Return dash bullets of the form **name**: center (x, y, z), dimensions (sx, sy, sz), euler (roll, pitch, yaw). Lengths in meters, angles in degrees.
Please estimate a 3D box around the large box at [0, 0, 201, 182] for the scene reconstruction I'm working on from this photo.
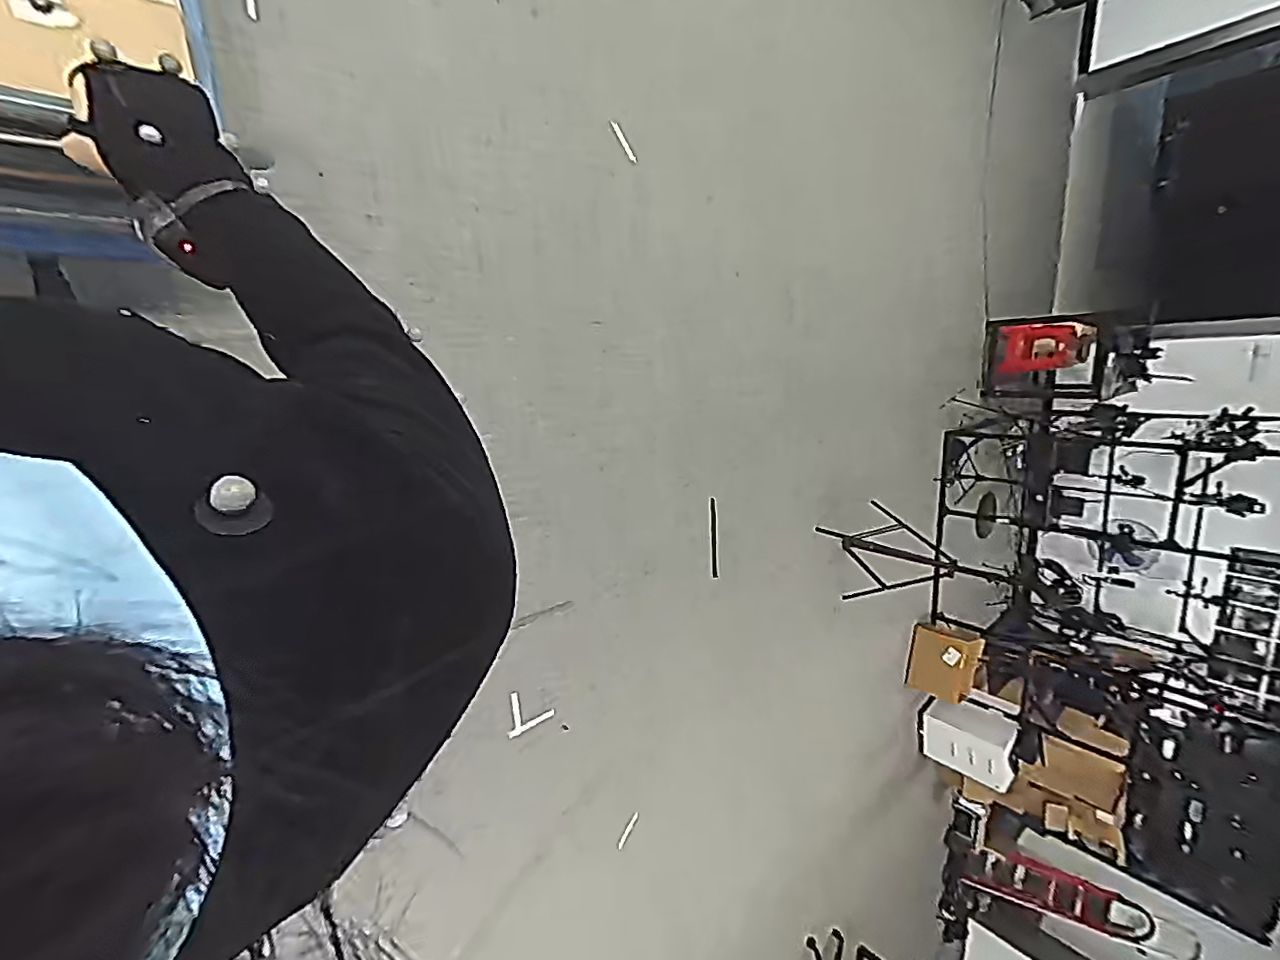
- **large box**: center (-0.884, -0.625, 0.715), dimensions (0.408, 0.320, 0.320), euler (-17, 108, -40)
